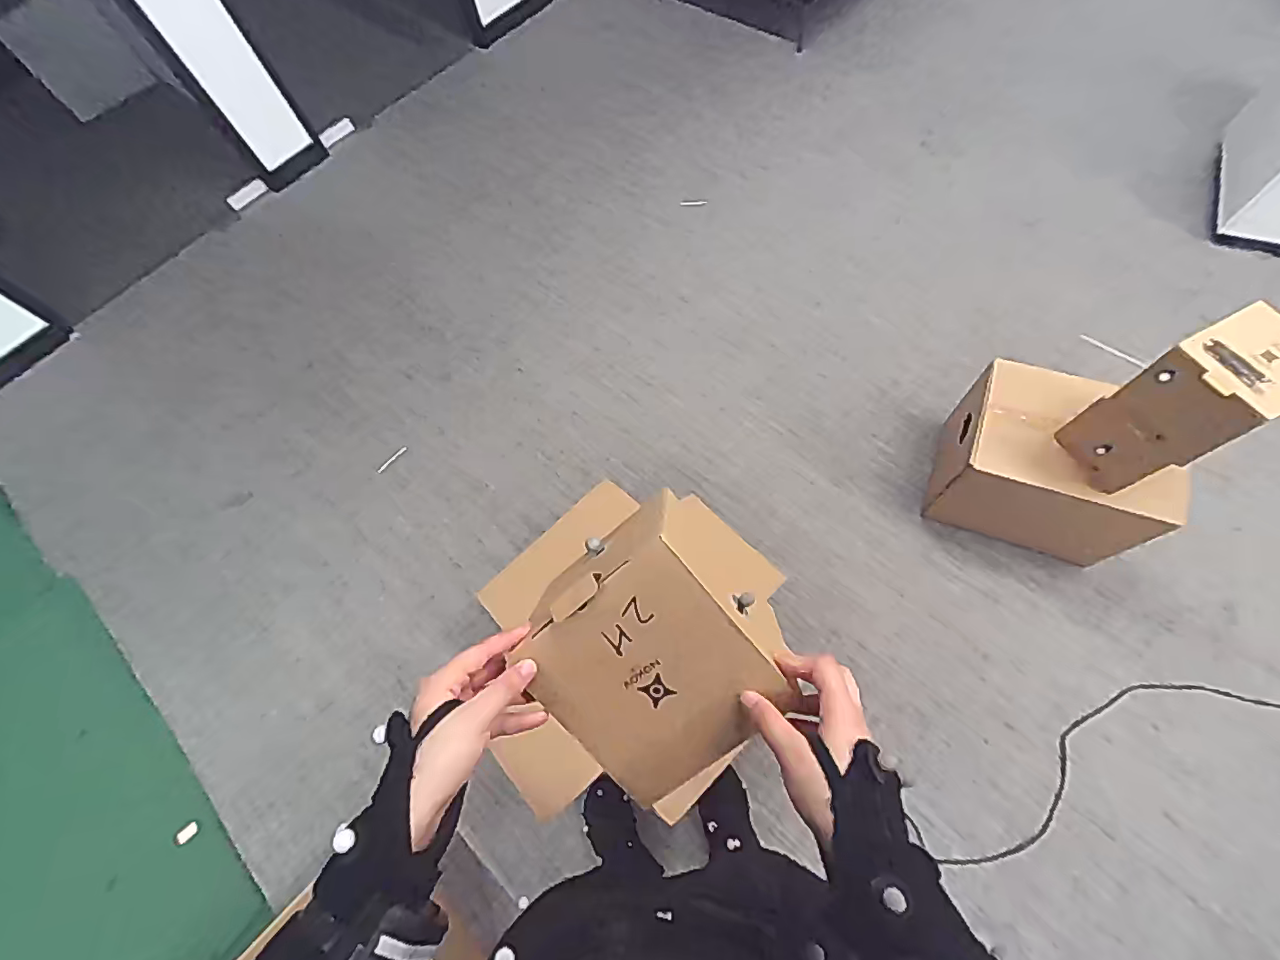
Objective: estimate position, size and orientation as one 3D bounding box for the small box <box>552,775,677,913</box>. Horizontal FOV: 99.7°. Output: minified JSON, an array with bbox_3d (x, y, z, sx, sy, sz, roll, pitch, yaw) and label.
[{"bbox_3d":[-0.046,0.750,1.126,0.176,0.168,0.179,40,47,-7],"label":"small box"}]

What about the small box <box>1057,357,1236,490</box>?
[{"bbox_3d":[0.995,-0.106,1.090,0.179,0.176,0.168,-27,66,-4],"label":"small box"}]

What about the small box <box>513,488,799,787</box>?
[{"bbox_3d":[0.018,0.131,0.510,0.168,0.176,0.179,-40,96,11],"label":"small box"}]
